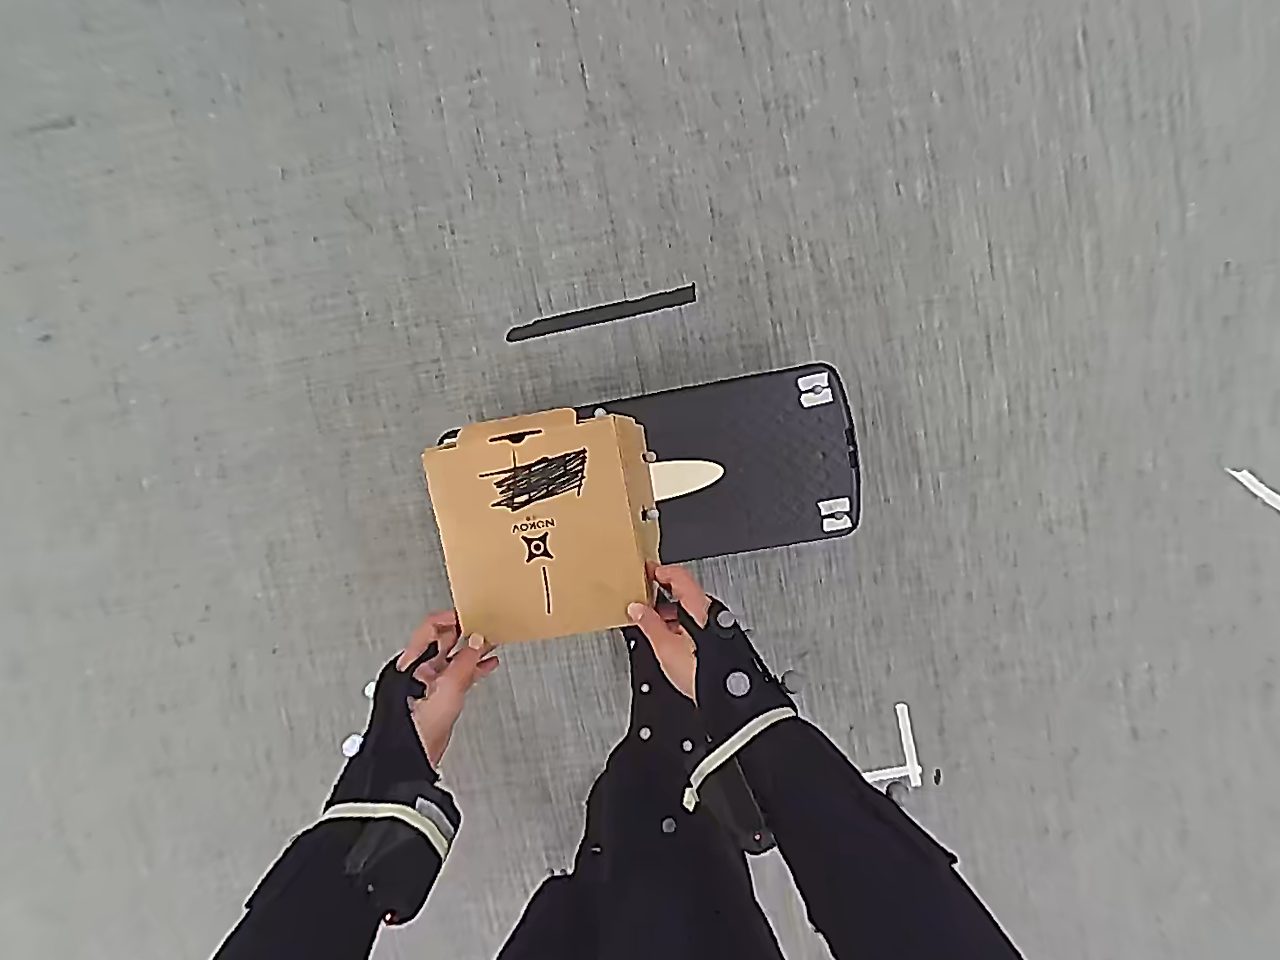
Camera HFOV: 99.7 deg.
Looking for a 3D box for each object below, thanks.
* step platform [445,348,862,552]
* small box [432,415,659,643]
[{"bbox_3d":[0.020,-0.027,0.943,0.684,0.204,0.286,-10,94,5],"label":"step platform"},{"bbox_3d":[-0.077,0.037,0.534,0.168,0.176,0.179,-10,95,6],"label":"small box"}]
